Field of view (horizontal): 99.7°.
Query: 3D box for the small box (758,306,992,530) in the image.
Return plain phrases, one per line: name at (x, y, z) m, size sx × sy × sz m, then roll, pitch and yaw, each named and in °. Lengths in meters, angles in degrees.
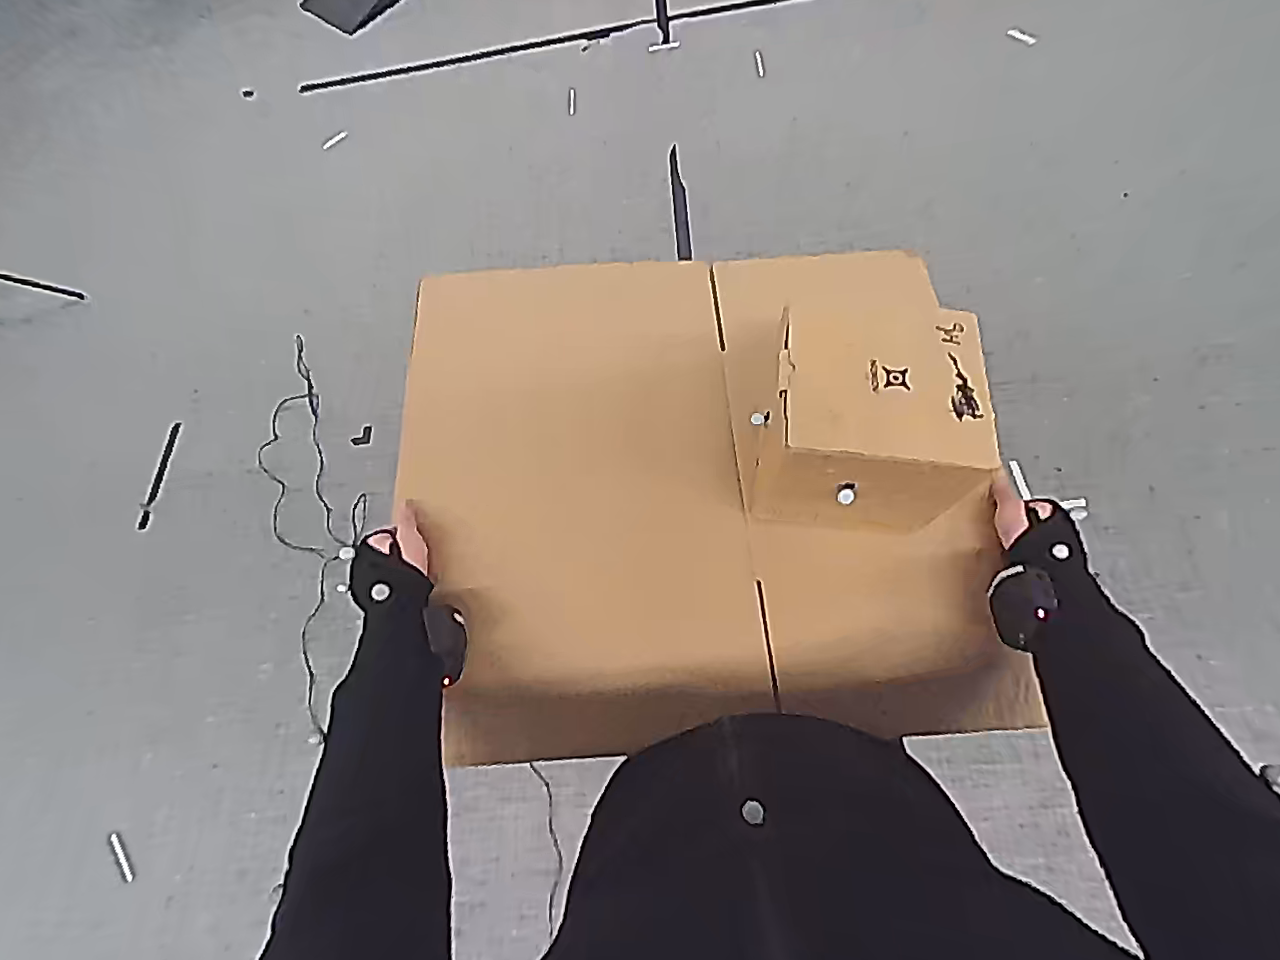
small box at (0.221, -0.055, 0.560) m, size 0.179 × 0.176 × 0.168 m, roll 5°, pitch 66°, yaw 6°
